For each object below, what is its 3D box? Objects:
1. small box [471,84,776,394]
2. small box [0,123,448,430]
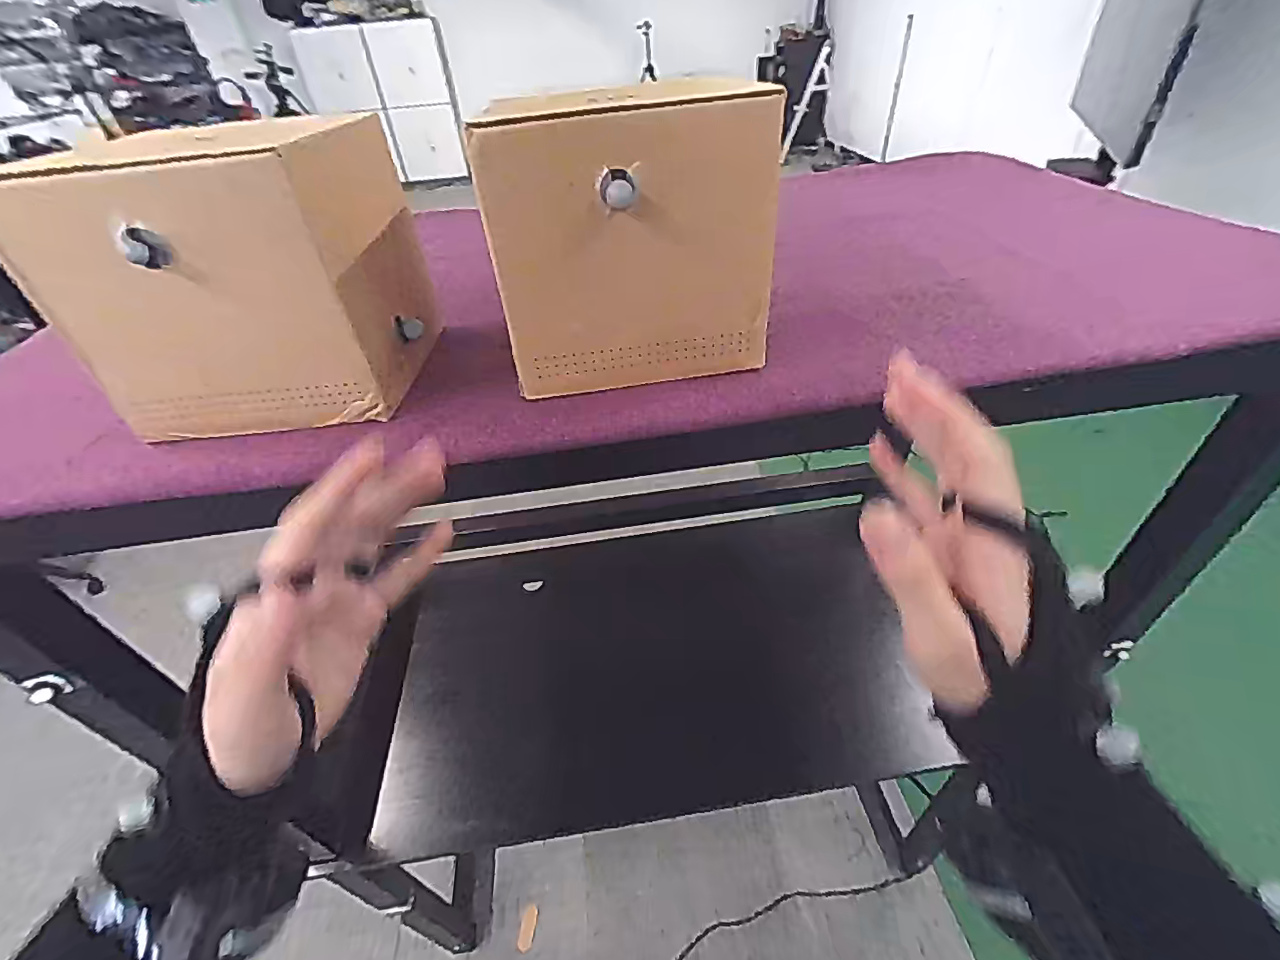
[{"bbox_3d":[-0.011,-0.184,0.412,0.179,0.176,0.168,-9,39,-2],"label":"small box"},{"bbox_3d":[-0.266,-0.149,0.398,0.179,0.176,0.168,-5,39,0],"label":"small box"}]
